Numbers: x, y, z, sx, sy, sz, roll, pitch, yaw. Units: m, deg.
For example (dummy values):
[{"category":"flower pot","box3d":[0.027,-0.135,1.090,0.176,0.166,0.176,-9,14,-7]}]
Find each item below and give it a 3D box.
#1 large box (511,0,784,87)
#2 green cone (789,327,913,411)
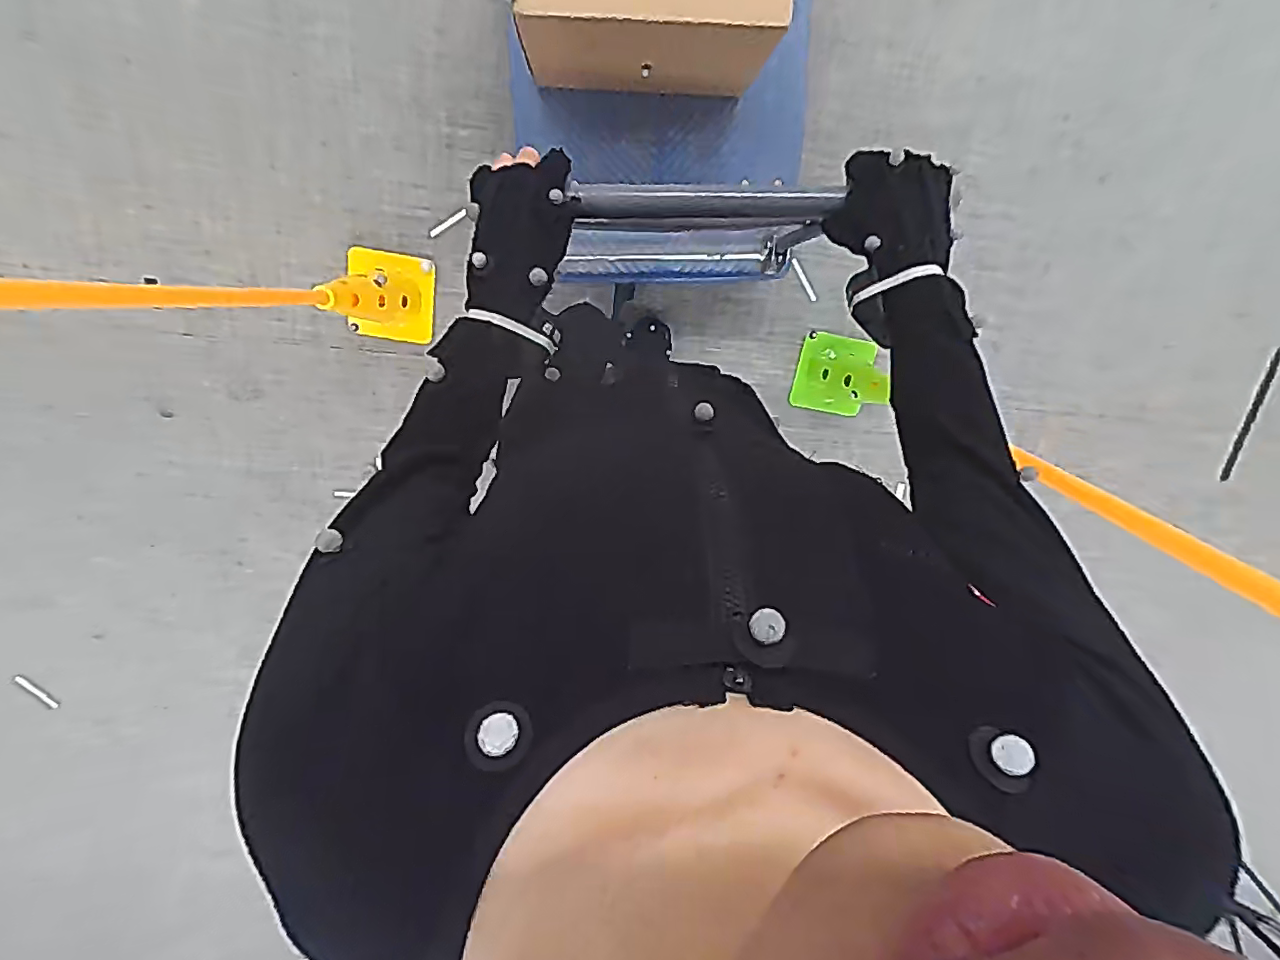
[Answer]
[{"category":"large box","box3d":[0.007,-0.866,0.876,0.408,0.320,0.320,0,110,-3]},{"category":"green cone","box3d":[0.523,-0.237,1.280,0.202,0.368,0.200,8,108,-8]}]
